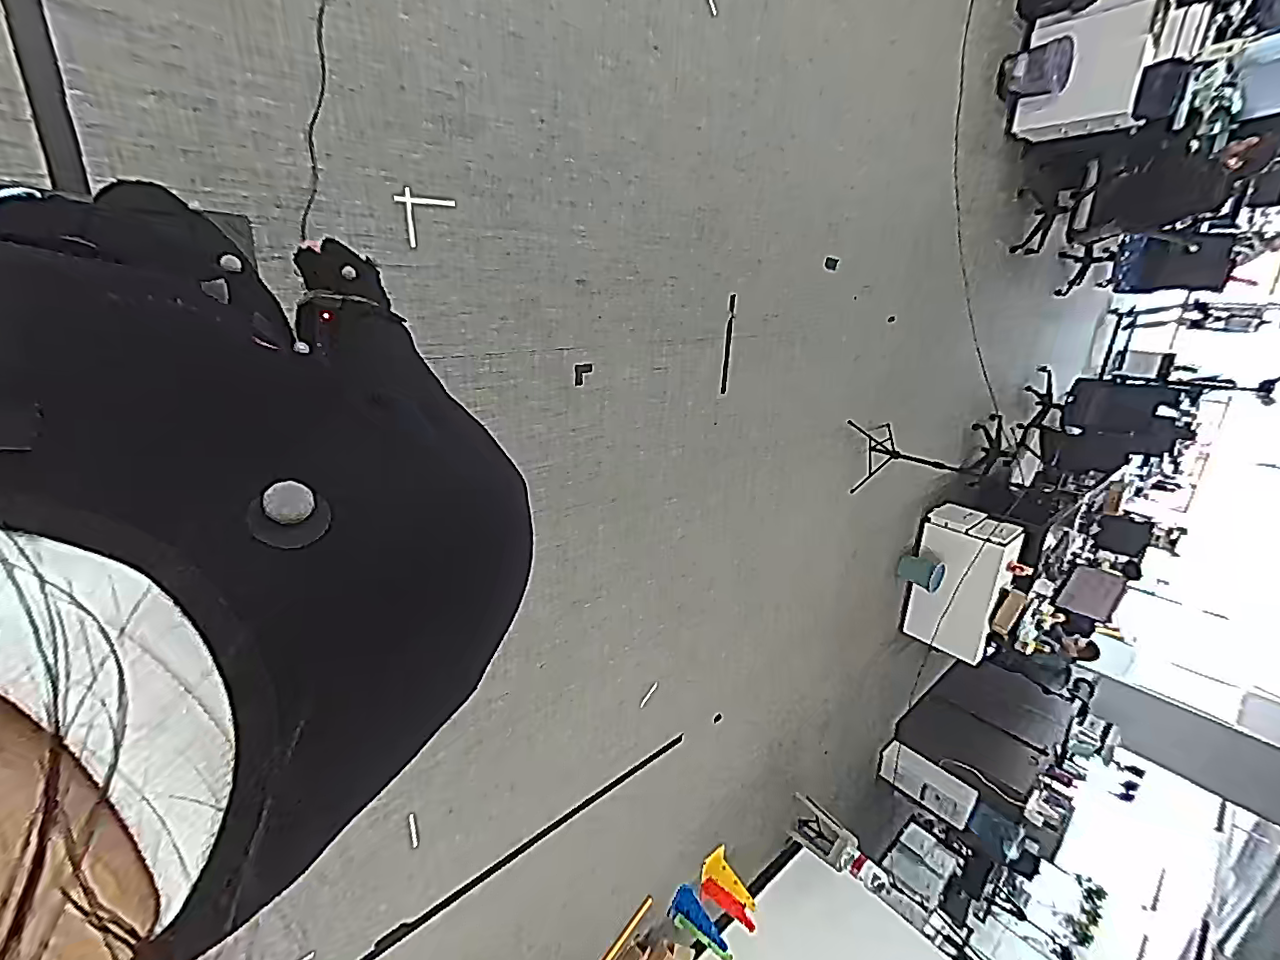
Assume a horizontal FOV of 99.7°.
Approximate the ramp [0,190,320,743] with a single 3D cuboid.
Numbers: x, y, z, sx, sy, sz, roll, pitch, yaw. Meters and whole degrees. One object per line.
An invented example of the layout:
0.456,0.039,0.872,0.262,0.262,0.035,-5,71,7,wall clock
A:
-0.998,-0.029,1.081,0.509,0.206,0.991,-13,114,-38,ramp
